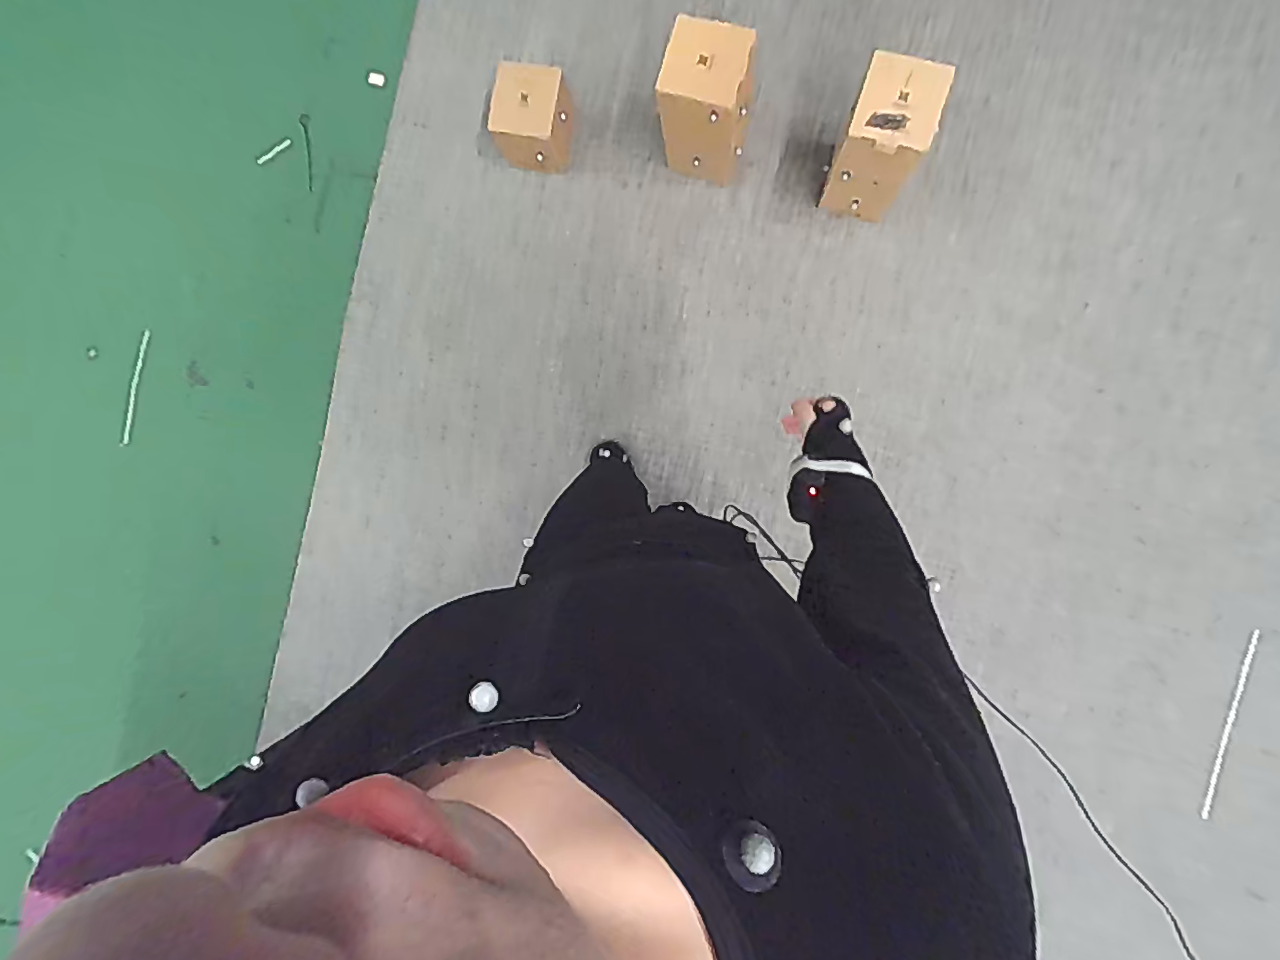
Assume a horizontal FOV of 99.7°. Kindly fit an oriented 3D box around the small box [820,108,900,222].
[{"bbox_3d":[0.556,-0.766,1.330,0.168,0.176,0.179,17,94,6],"label":"small box"}]

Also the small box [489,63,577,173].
[{"bbox_3d":[-0.276,-0.948,1.431,0.168,0.176,0.179,13,92,6],"label":"small box"}]

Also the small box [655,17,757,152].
[{"bbox_3d":[0.147,-0.876,1.214,0.179,0.176,0.168,18,93,6],"label":"small box"}]

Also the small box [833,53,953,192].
[{"bbox_3d":[0.532,-0.759,1.167,0.168,0.176,0.179,18,93,6],"label":"small box"}]
